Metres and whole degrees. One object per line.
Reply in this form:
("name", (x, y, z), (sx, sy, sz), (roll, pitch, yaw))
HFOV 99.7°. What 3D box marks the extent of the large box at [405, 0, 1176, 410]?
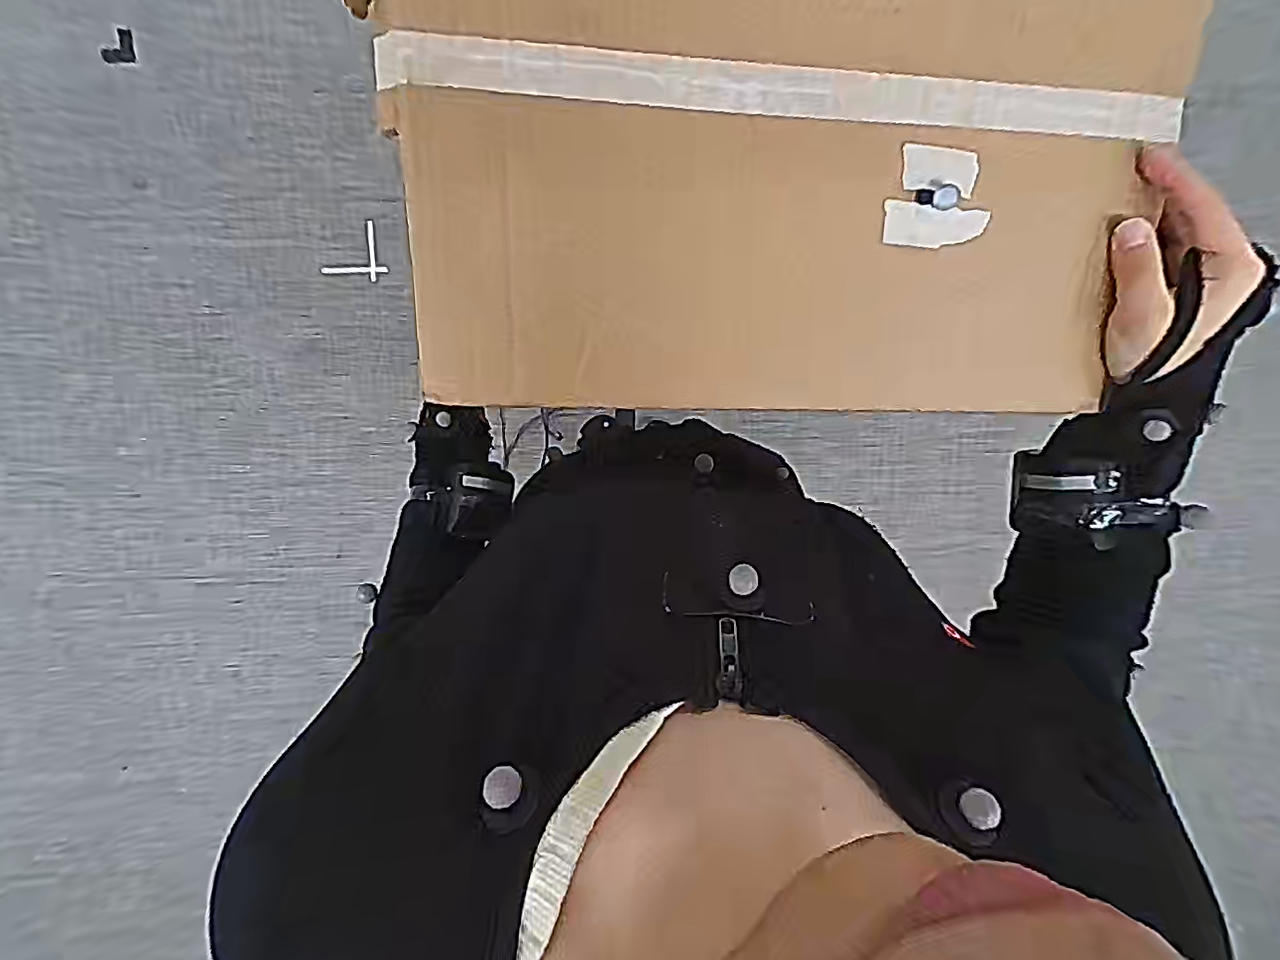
("large box", (0.067, -0.232, 0.424), (0.408, 0.320, 0.320), (-1, 106, -8))
